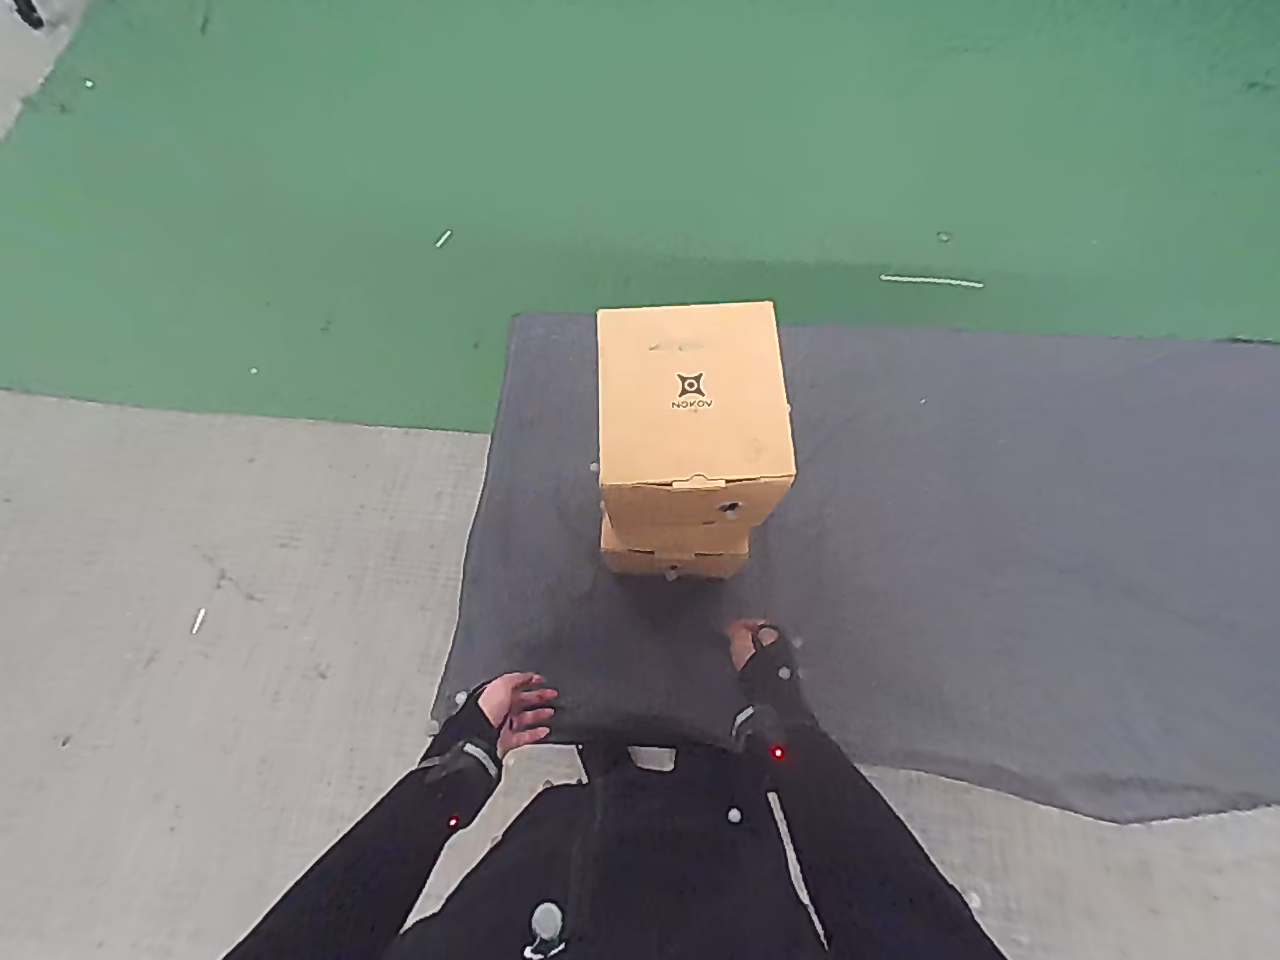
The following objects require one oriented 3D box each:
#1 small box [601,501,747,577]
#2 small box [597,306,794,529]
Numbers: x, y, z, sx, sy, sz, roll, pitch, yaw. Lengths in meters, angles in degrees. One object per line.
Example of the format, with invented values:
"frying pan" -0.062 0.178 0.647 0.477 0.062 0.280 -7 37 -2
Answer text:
"small box" 0.045 0.027 0.696 0.168 0.176 0.179 3 72 1
"small box" 0.046 -0.050 0.550 0.168 0.176 0.179 -3 70 -1
